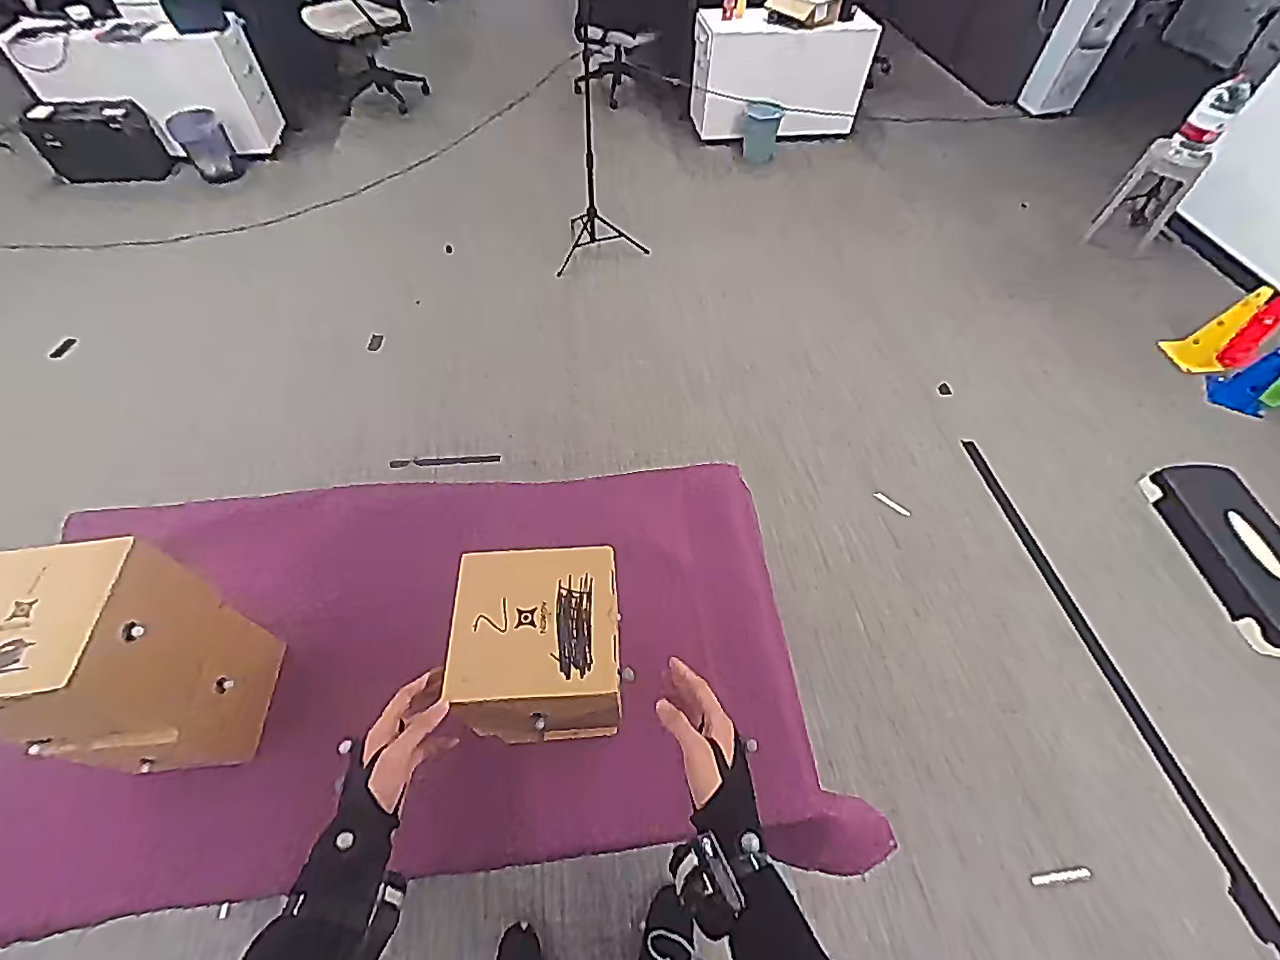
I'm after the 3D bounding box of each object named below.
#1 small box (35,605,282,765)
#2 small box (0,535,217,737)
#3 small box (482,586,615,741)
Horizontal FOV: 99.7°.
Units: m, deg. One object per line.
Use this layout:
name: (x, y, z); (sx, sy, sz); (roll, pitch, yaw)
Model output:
small box: (-0.642, 0.291, 0.754); (0.168, 0.176, 0.179); (-2, 55, -4)
small box: (-0.642, 0.187, 0.627); (0.168, 0.176, 0.179); (-6, 54, -7)
small box: (-0.122, 0.273, 0.790); (0.168, 0.176, 0.179); (-3, 54, -3)
